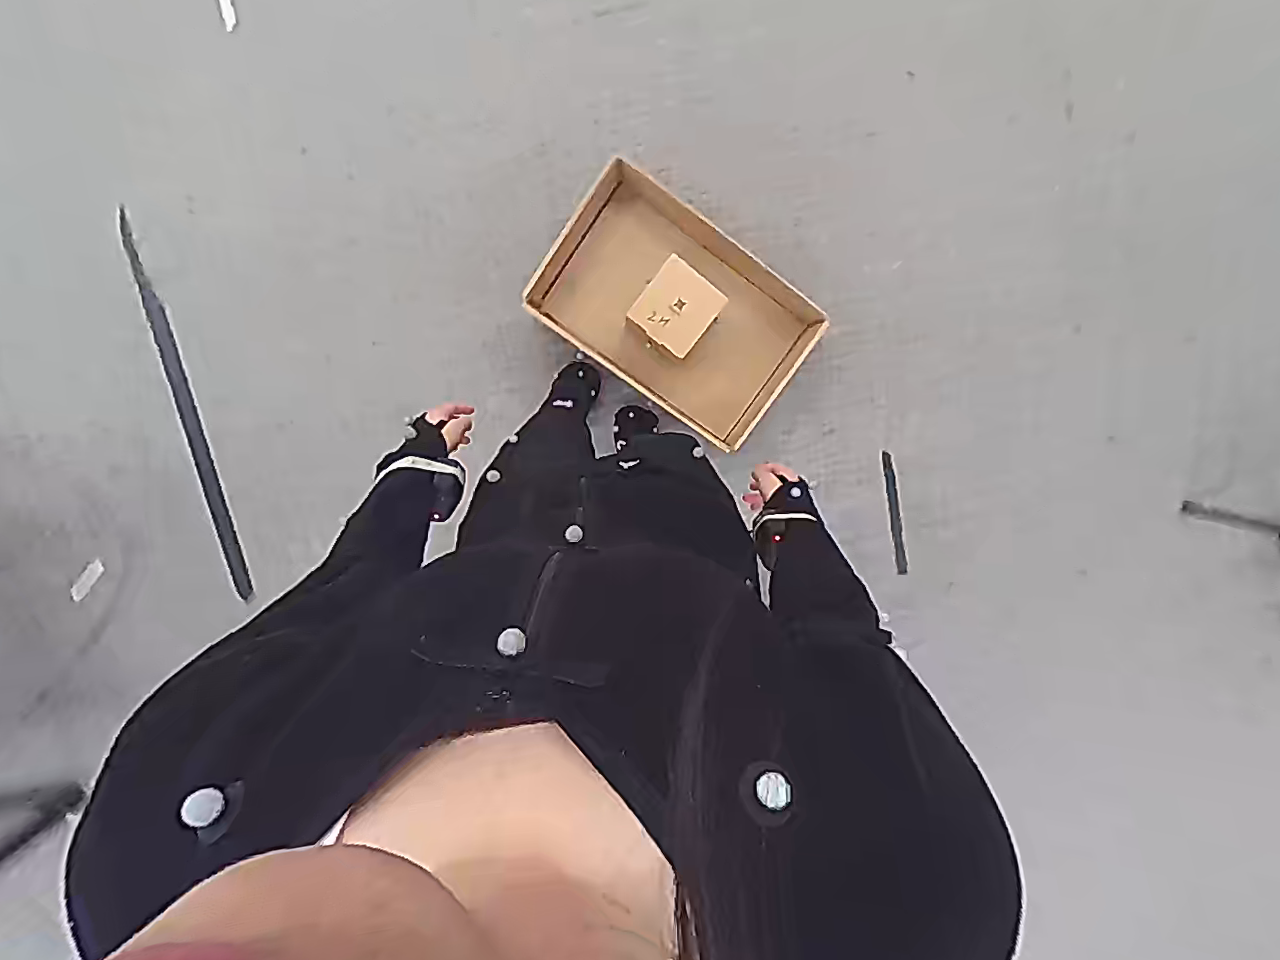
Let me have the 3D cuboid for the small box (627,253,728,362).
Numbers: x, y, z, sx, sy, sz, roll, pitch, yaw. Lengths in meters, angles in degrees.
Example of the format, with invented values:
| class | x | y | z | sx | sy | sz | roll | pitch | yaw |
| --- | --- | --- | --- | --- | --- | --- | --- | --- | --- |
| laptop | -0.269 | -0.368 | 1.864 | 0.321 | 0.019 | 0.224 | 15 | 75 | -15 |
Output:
| class | x | y | z | sx | sy | sz | roll | pitch | yaw |
| --- | --- | --- | --- | --- | --- | --- | --- | --- | --- |
| small box | 0.081 | -0.402 | 1.293 | 0.168 | 0.176 | 0.179 | 39 | 96 | -6 |
